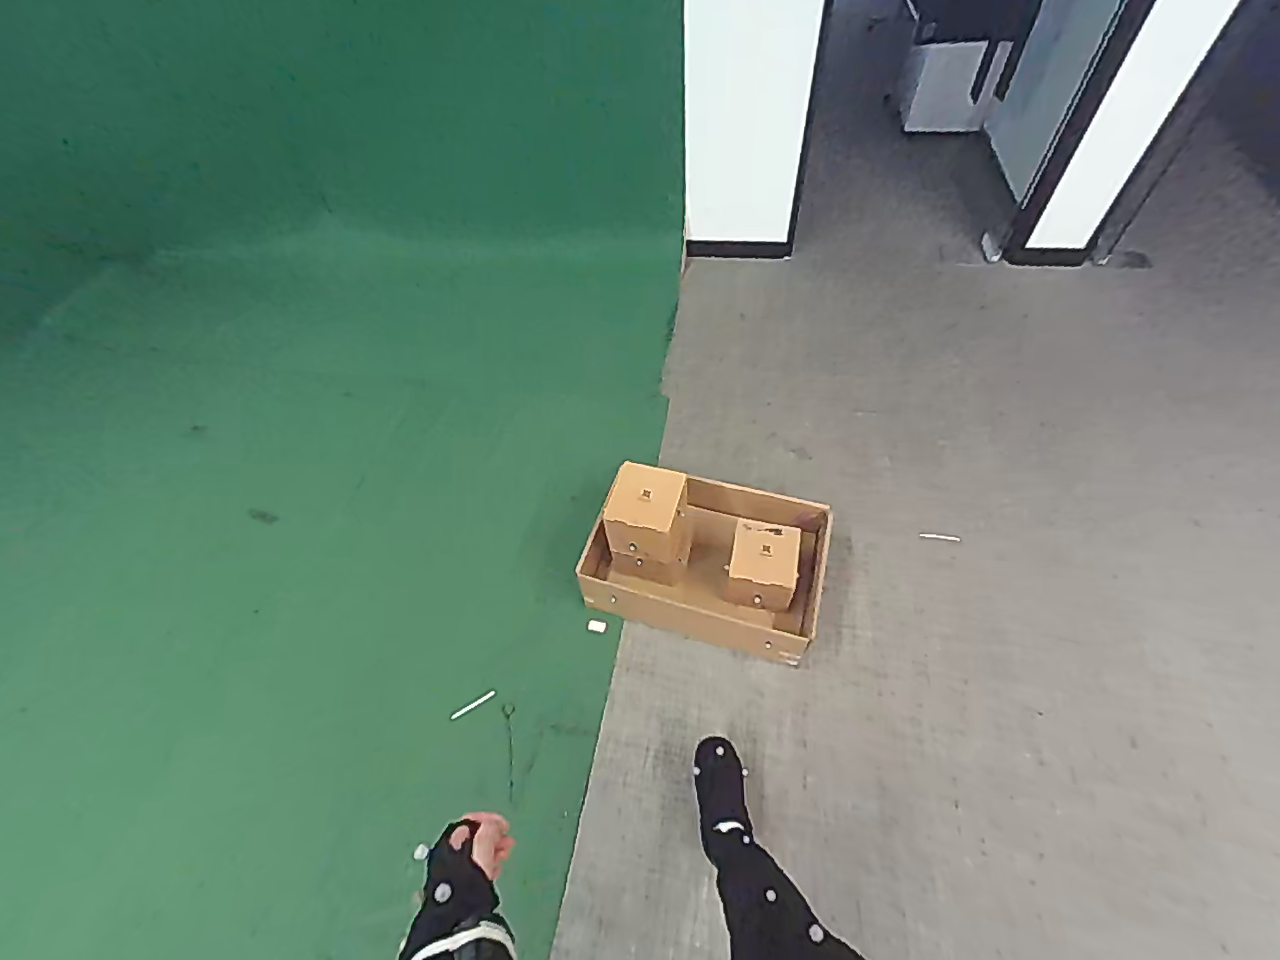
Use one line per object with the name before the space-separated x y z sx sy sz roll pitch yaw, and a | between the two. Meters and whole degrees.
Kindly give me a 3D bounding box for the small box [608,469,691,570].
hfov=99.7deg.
small box | 0.028 0.103 1.379 0.168 0.176 0.179 12 57 13
